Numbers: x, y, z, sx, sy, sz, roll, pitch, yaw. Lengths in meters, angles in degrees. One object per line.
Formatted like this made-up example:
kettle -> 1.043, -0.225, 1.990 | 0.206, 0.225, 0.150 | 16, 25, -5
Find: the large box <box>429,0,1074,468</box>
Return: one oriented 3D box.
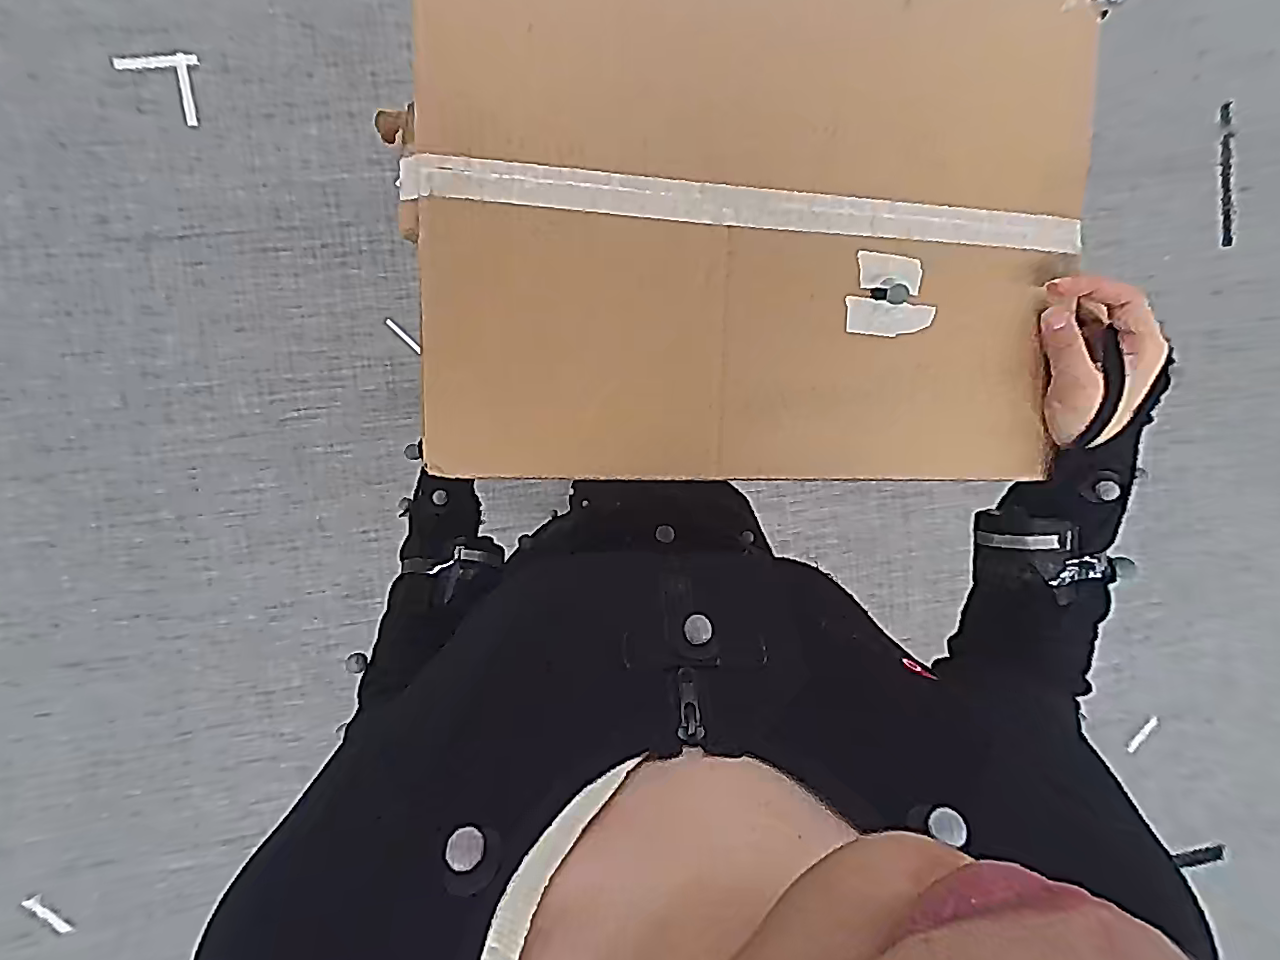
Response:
large box -> 0.054, -0.179, 0.469 | 0.408, 0.320, 0.320 | 0, 97, -12
